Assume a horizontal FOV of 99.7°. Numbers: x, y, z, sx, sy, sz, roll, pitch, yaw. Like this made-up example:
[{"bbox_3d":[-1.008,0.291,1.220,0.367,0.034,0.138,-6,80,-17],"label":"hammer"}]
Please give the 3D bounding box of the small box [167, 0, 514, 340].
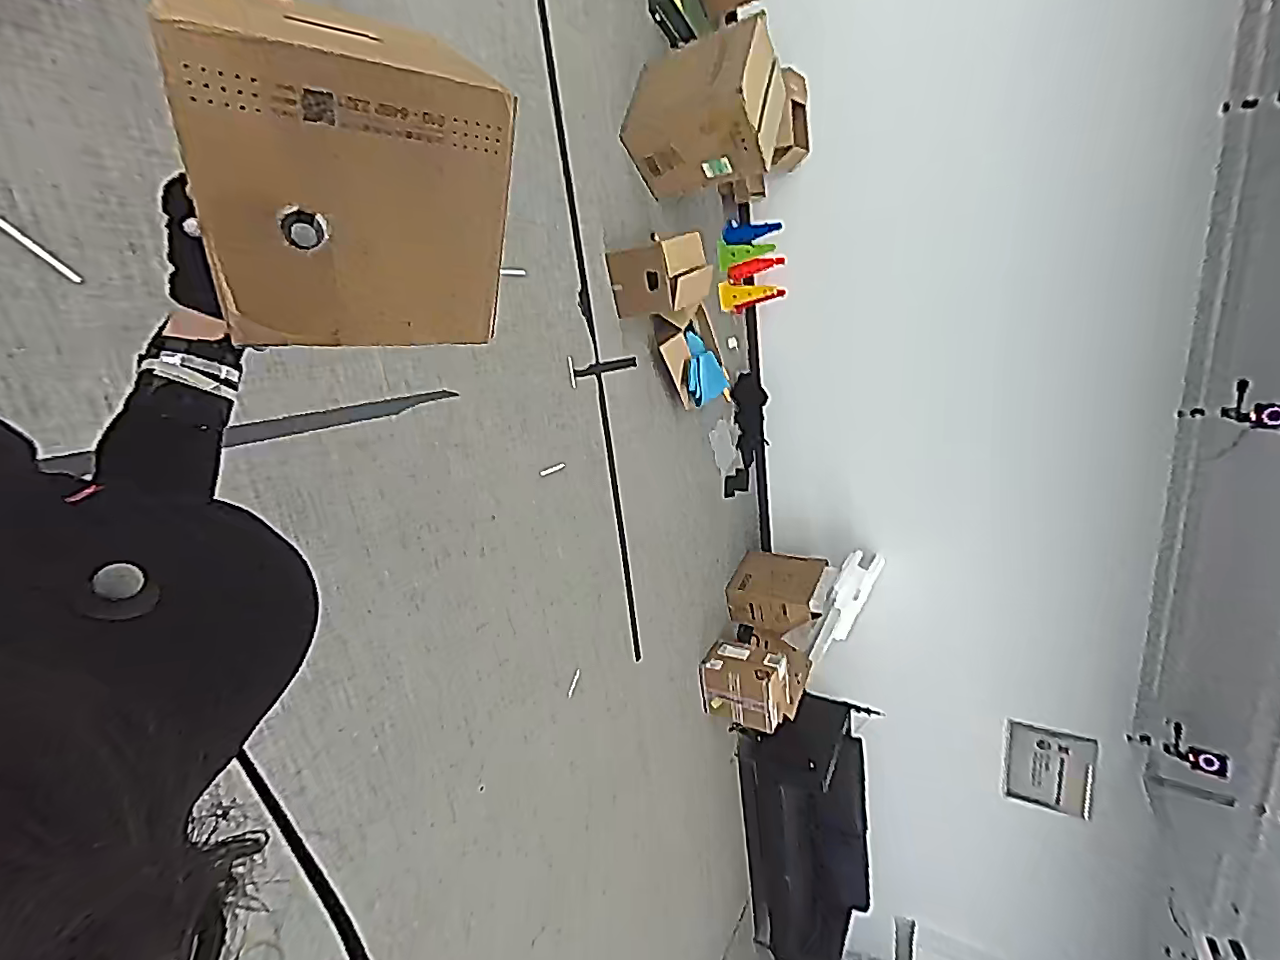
[{"bbox_3d":[-0.194,-0.212,0.365,0.168,0.179,0.176,-8,137,-33],"label":"small box"}]
